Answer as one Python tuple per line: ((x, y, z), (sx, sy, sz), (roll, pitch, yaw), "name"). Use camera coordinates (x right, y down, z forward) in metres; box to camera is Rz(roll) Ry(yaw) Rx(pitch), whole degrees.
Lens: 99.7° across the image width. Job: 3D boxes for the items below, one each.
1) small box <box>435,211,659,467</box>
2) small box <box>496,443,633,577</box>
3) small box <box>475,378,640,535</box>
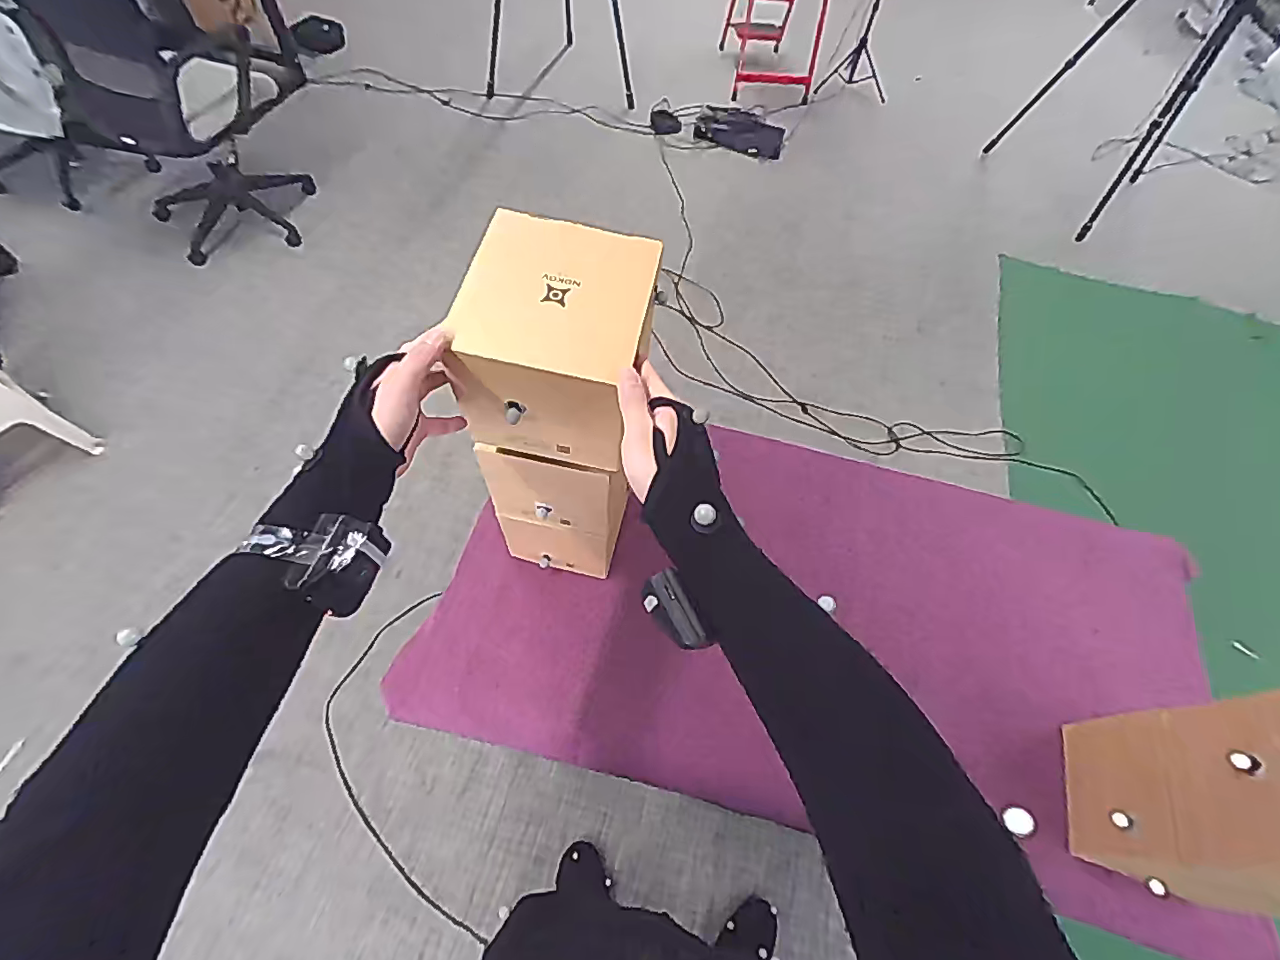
((-0.082, -0.133, 0.556), (0.168, 0.176, 0.179), (12, 64, 0), "small box")
((-0.115, 0.033, 0.875), (0.168, 0.176, 0.179), (13, 60, 4), "small box")
((-0.102, -0.050, 0.734), (0.168, 0.176, 0.179), (12, 60, 4), "small box")
